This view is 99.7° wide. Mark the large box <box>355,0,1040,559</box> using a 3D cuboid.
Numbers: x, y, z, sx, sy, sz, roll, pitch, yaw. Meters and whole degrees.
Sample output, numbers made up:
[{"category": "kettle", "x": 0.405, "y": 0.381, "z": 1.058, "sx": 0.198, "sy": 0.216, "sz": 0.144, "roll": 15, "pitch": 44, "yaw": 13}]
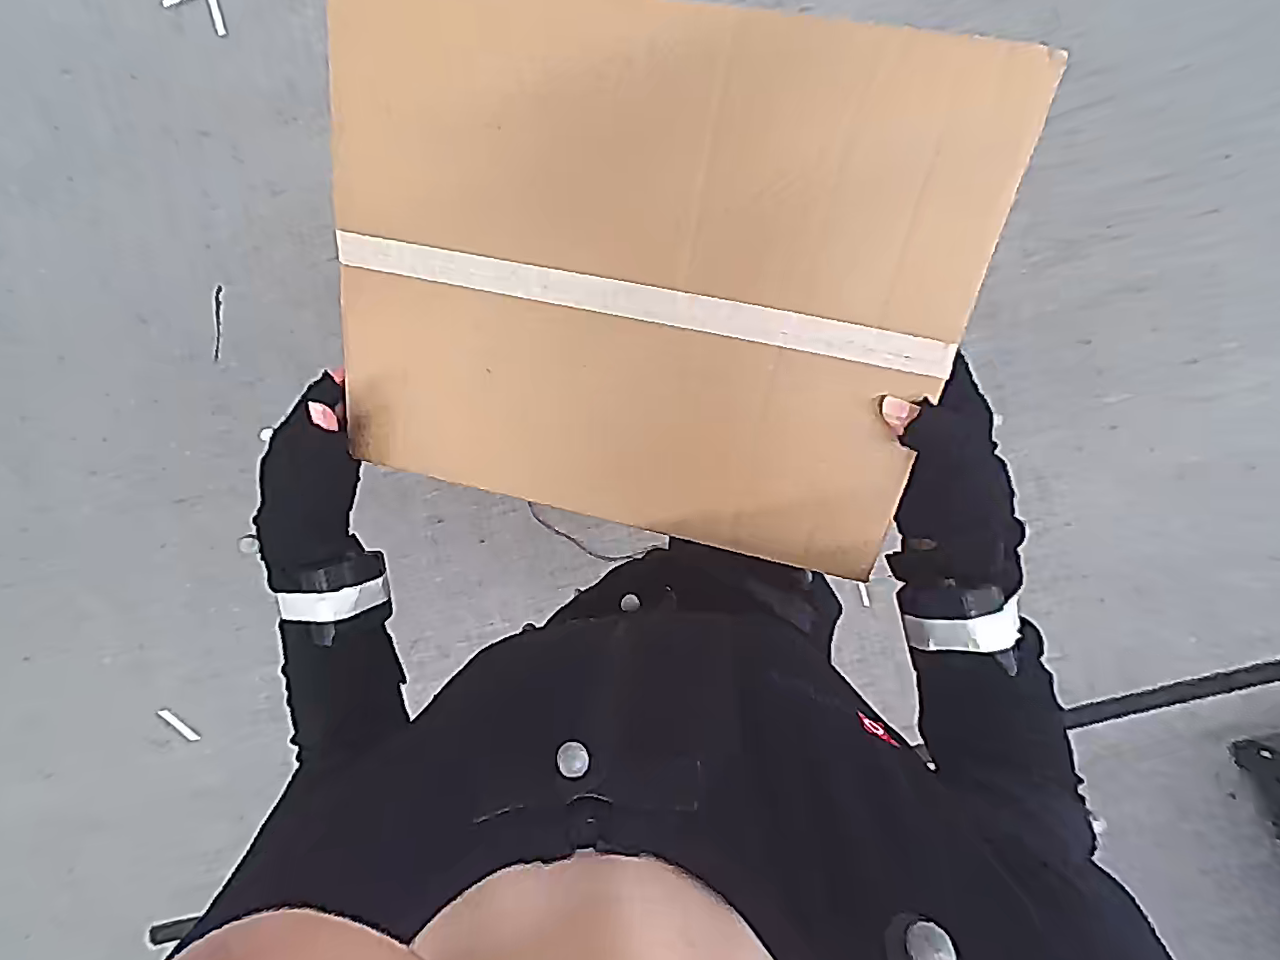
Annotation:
[{"category": "large box", "x": 0.021, "y": -0.171, "z": 0.497, "sx": 0.408, "sy": 0.320, "sz": 0.320, "roll": 13, "pitch": 113, "yaw": 7}]
